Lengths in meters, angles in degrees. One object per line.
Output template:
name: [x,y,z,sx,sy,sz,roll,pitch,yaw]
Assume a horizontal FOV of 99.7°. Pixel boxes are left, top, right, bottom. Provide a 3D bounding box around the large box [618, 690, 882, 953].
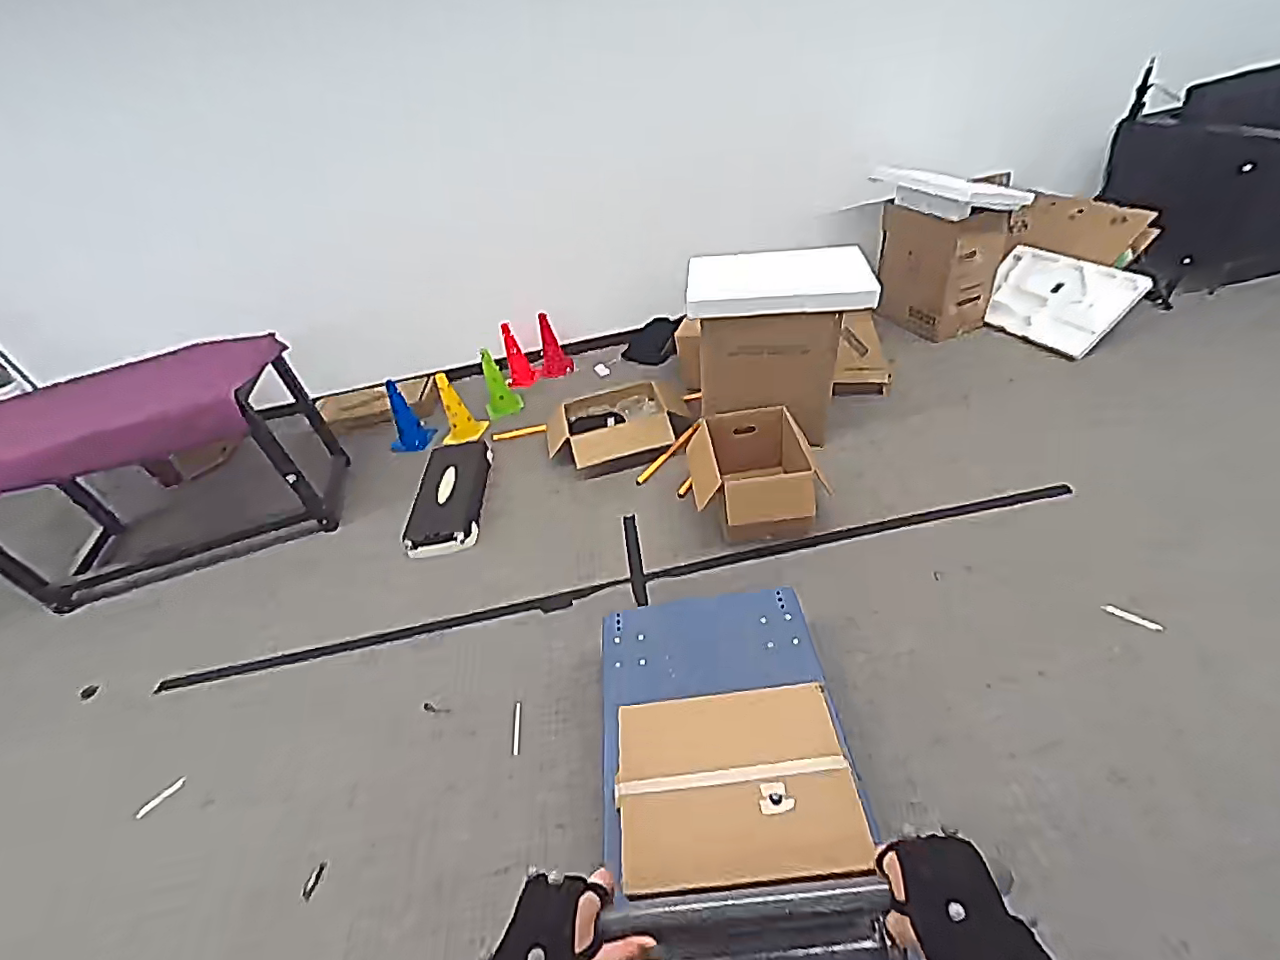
large box: [0.181,0.646,1.028,0.408,0.320,0.320,-8,39,2]
